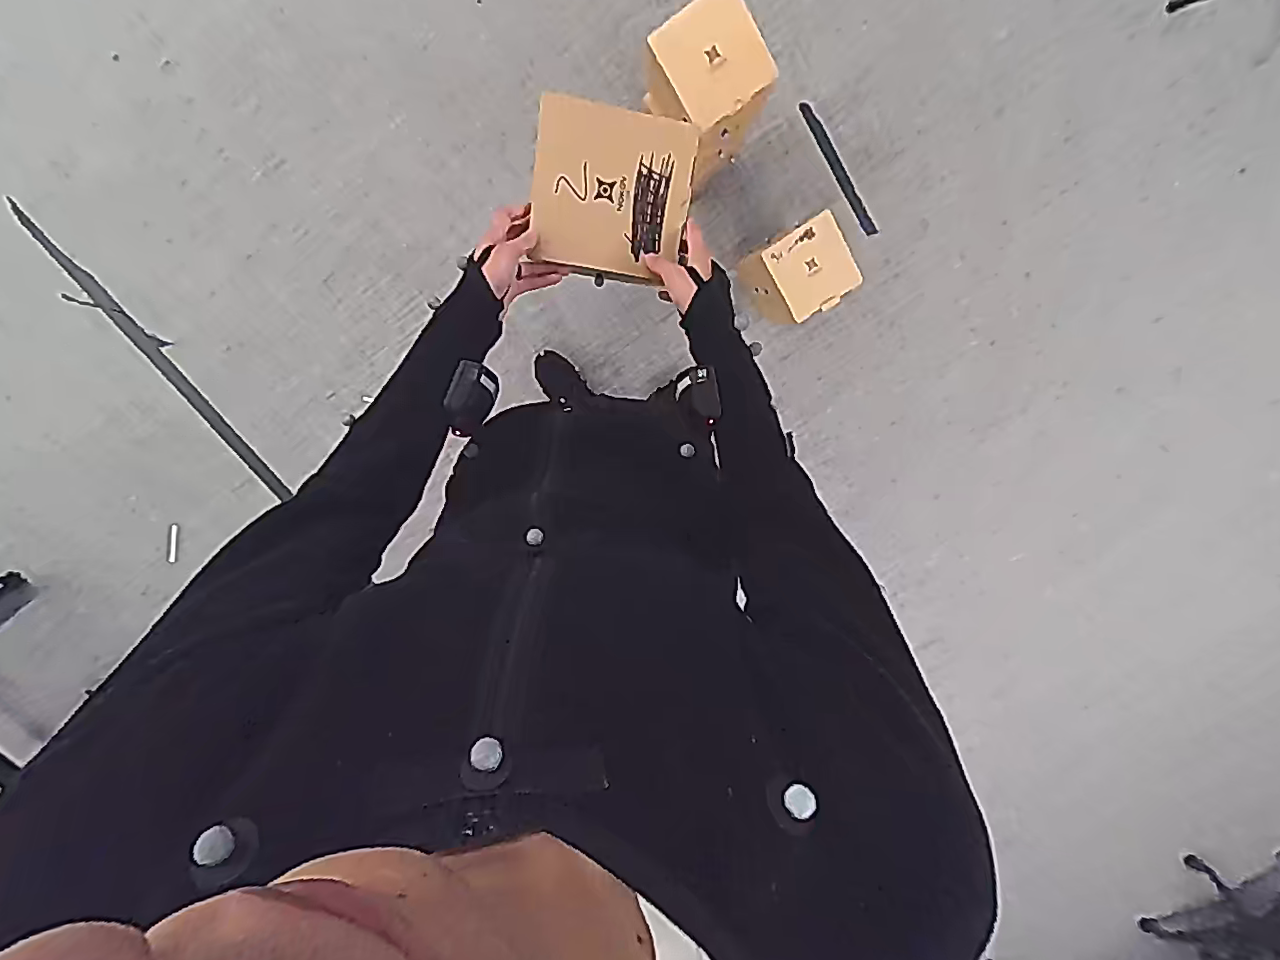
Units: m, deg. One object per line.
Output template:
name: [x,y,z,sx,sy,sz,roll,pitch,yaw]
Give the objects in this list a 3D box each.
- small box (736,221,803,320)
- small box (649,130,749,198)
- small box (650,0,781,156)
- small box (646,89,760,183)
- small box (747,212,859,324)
small box: [0.367,-0.534,1.400,0.168,0.176,0.179,-32,106,10]
small box: [0.133,-0.820,1.305,0.179,0.176,0.168,-39,104,12]
small box: [0.127,-0.737,0.989,0.168,0.176,0.179,-32,105,10]
small box: [0.124,-0.772,1.148,0.179,0.176,0.168,-37,104,12]
small box: [0.368,-0.482,1.244,0.168,0.176,0.179,-31,107,9]
